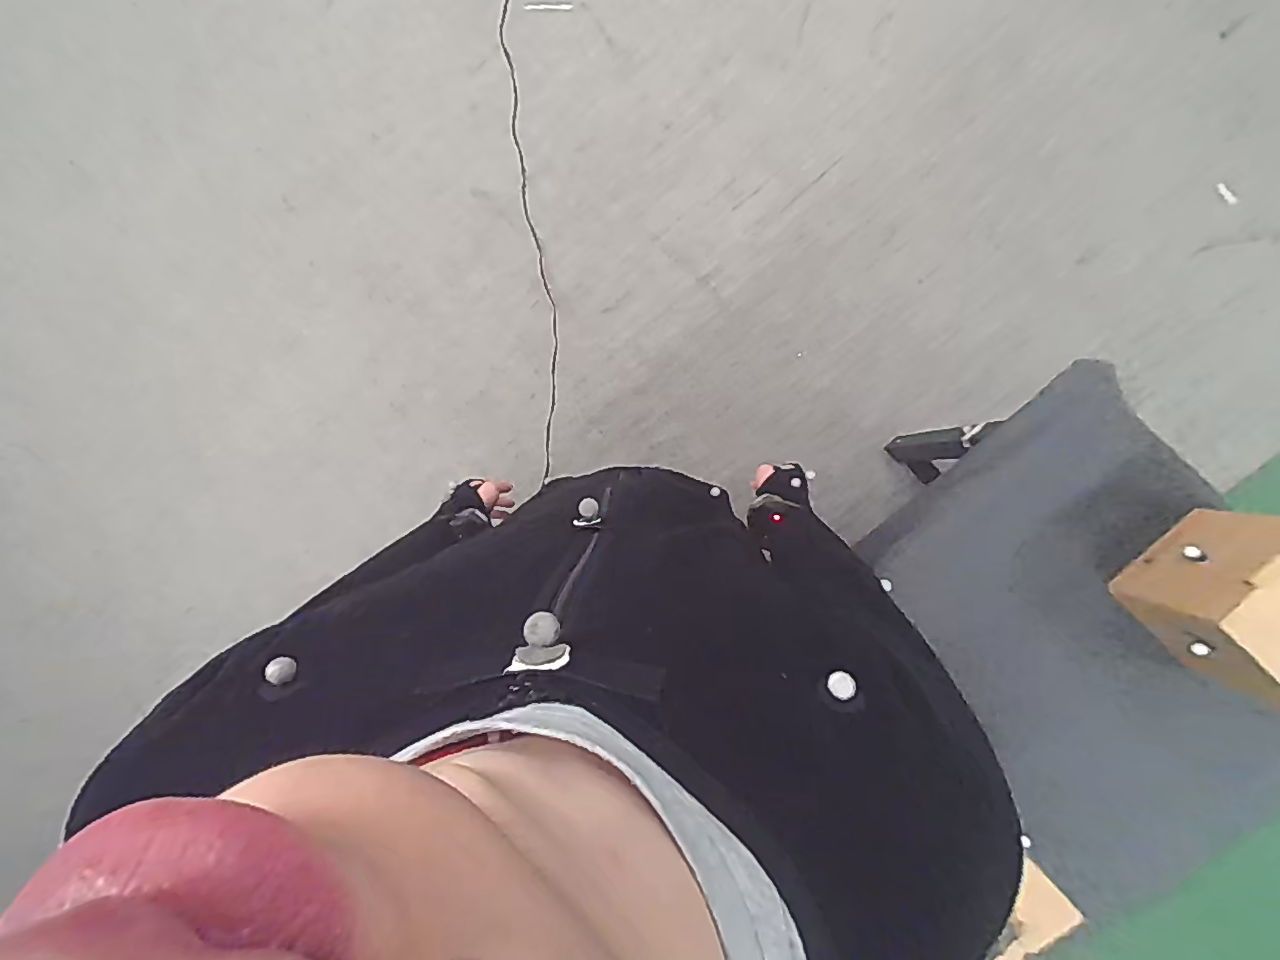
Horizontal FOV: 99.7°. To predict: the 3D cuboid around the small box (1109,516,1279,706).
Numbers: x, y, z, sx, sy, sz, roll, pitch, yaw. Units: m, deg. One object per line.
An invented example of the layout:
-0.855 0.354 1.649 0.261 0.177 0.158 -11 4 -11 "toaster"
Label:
0.766 0.159 0.681 0.168 0.176 0.179 -44 87 6 "small box"
